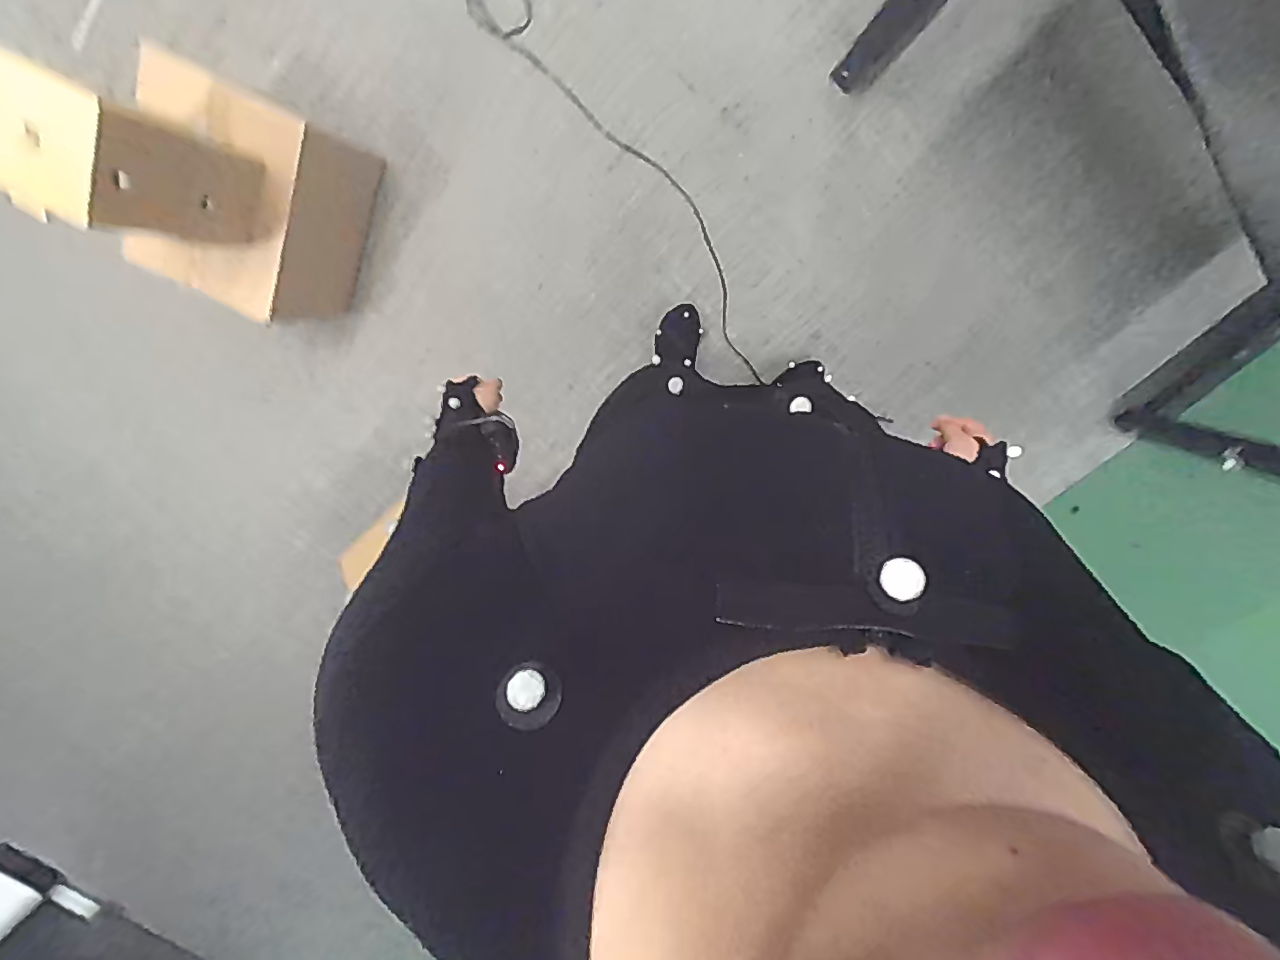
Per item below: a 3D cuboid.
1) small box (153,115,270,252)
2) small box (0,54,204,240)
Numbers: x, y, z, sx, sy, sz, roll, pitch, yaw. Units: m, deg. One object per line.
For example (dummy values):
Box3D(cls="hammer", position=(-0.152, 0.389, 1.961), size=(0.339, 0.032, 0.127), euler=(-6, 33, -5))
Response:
Box3D(cls="small box", position=(-0.821, -0.537, 0.991), size=(0.168, 0.176, 0.179), euler=(24, 109, -6))
Box3D(cls="small box", position=(-0.824, -0.493, 0.834), size=(0.168, 0.176, 0.179), euler=(25, 110, -7))
